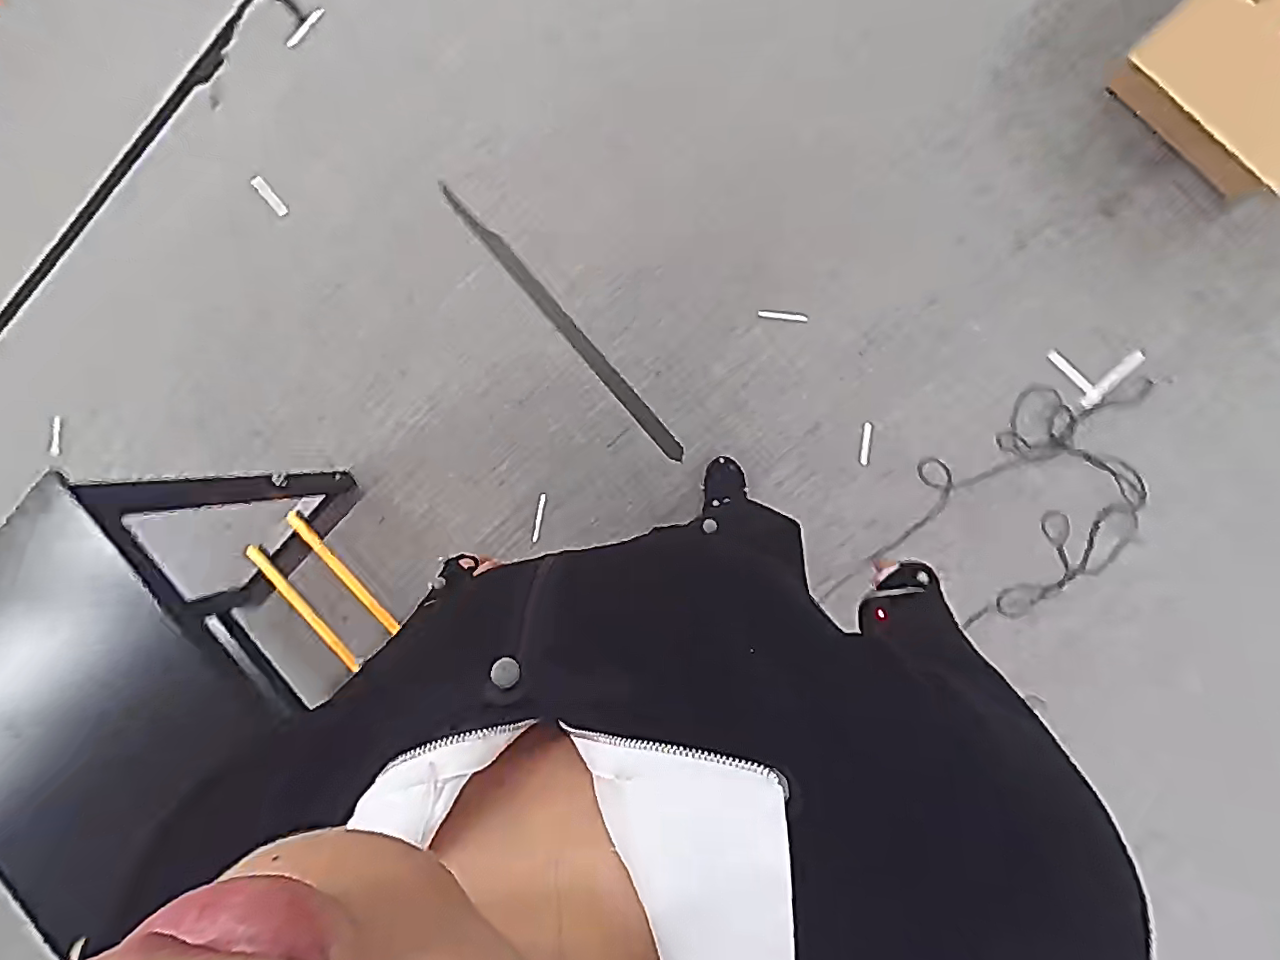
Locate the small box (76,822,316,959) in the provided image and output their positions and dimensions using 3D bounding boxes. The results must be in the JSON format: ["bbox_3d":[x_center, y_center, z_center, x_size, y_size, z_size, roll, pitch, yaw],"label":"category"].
[{"bbox_3d":[-0.629,0.643,0.786,0.168,0.176,0.179,-44,85,8],"label":"small box"}]
